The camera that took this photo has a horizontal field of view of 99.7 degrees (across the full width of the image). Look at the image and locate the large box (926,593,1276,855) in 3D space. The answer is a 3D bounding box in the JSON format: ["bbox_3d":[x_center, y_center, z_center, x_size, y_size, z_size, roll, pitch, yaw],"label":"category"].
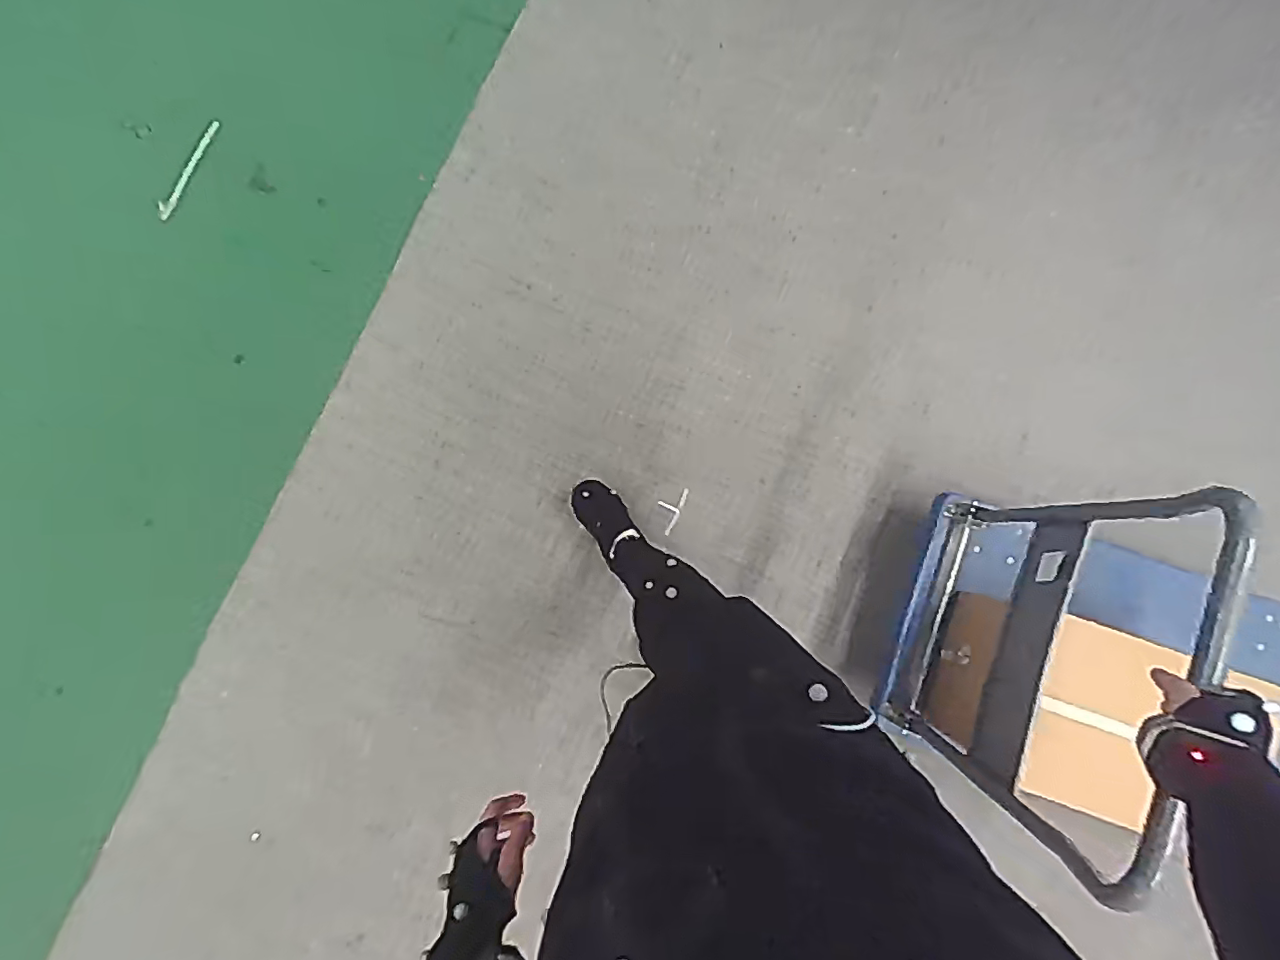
[{"bbox_3d":[0.872,0.446,1.083,0.408,0.320,0.320,19,86,2],"label":"large box"}]
